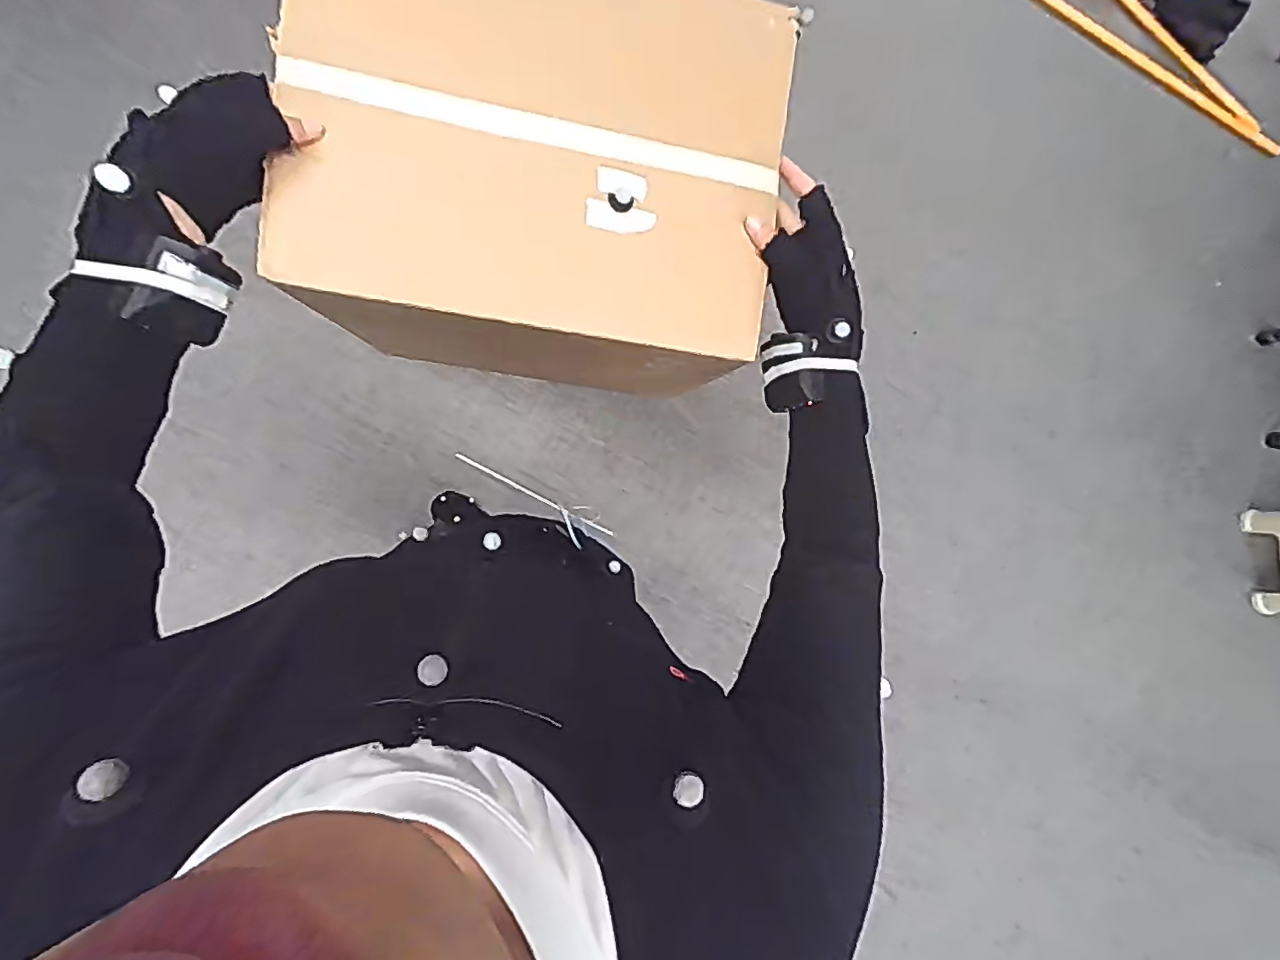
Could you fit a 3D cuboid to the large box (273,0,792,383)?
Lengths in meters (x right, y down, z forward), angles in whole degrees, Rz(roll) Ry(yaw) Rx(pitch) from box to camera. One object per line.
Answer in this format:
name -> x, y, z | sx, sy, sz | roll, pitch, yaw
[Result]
large box -> -0.102, -0.302, 0.591 | 0.408, 0.320, 0.320 | 7, 92, -11
